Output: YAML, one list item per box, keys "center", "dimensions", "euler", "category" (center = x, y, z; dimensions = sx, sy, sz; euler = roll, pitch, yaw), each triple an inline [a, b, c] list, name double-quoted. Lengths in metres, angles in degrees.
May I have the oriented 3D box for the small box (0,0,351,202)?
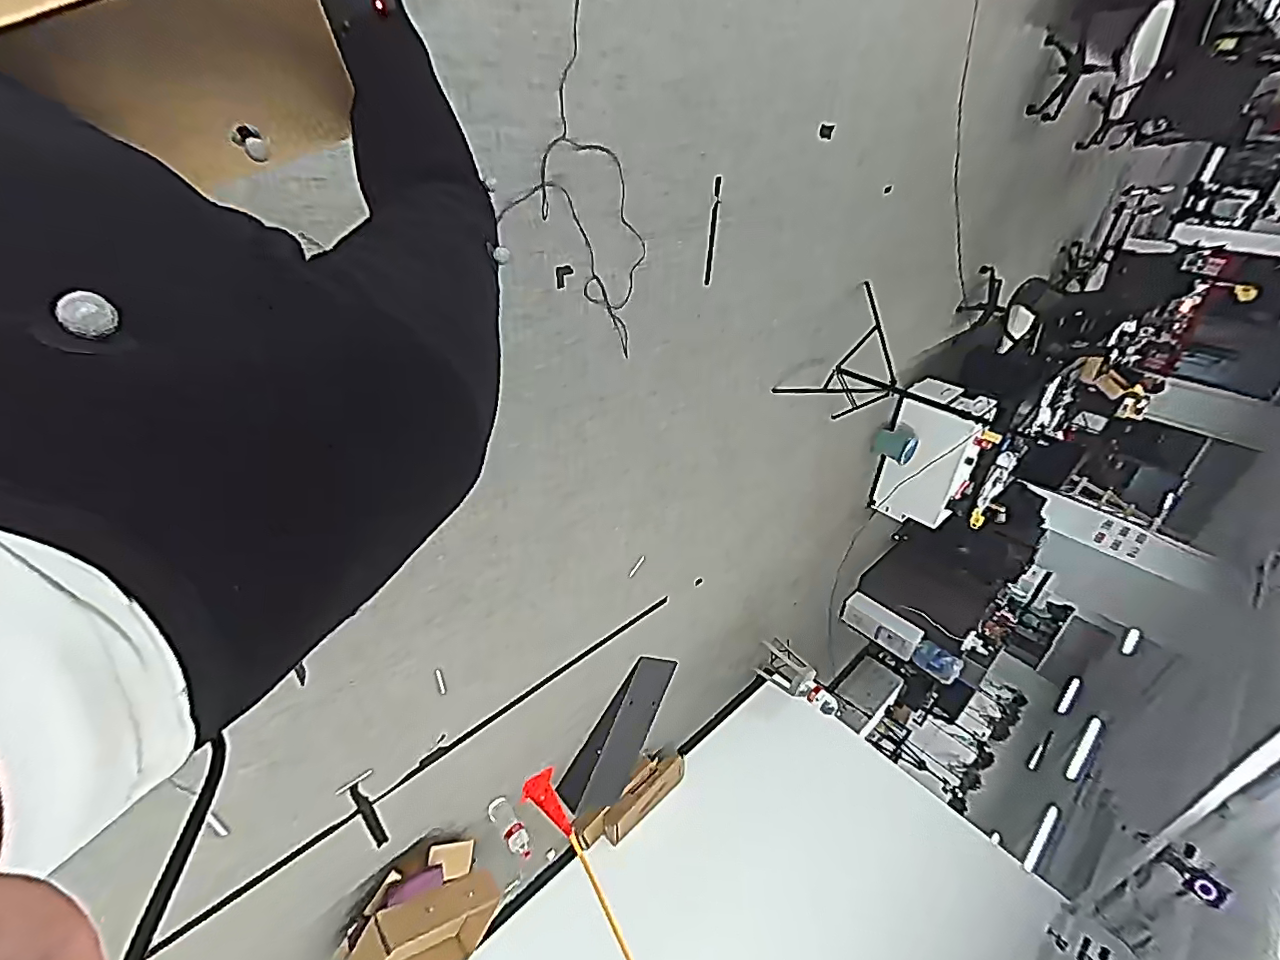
- center: [-0.327, -0.331, 0.369]
  dimensions: [0.179, 0.176, 0.168]
  euler: [-30, 96, -12]
  category: "small box"
